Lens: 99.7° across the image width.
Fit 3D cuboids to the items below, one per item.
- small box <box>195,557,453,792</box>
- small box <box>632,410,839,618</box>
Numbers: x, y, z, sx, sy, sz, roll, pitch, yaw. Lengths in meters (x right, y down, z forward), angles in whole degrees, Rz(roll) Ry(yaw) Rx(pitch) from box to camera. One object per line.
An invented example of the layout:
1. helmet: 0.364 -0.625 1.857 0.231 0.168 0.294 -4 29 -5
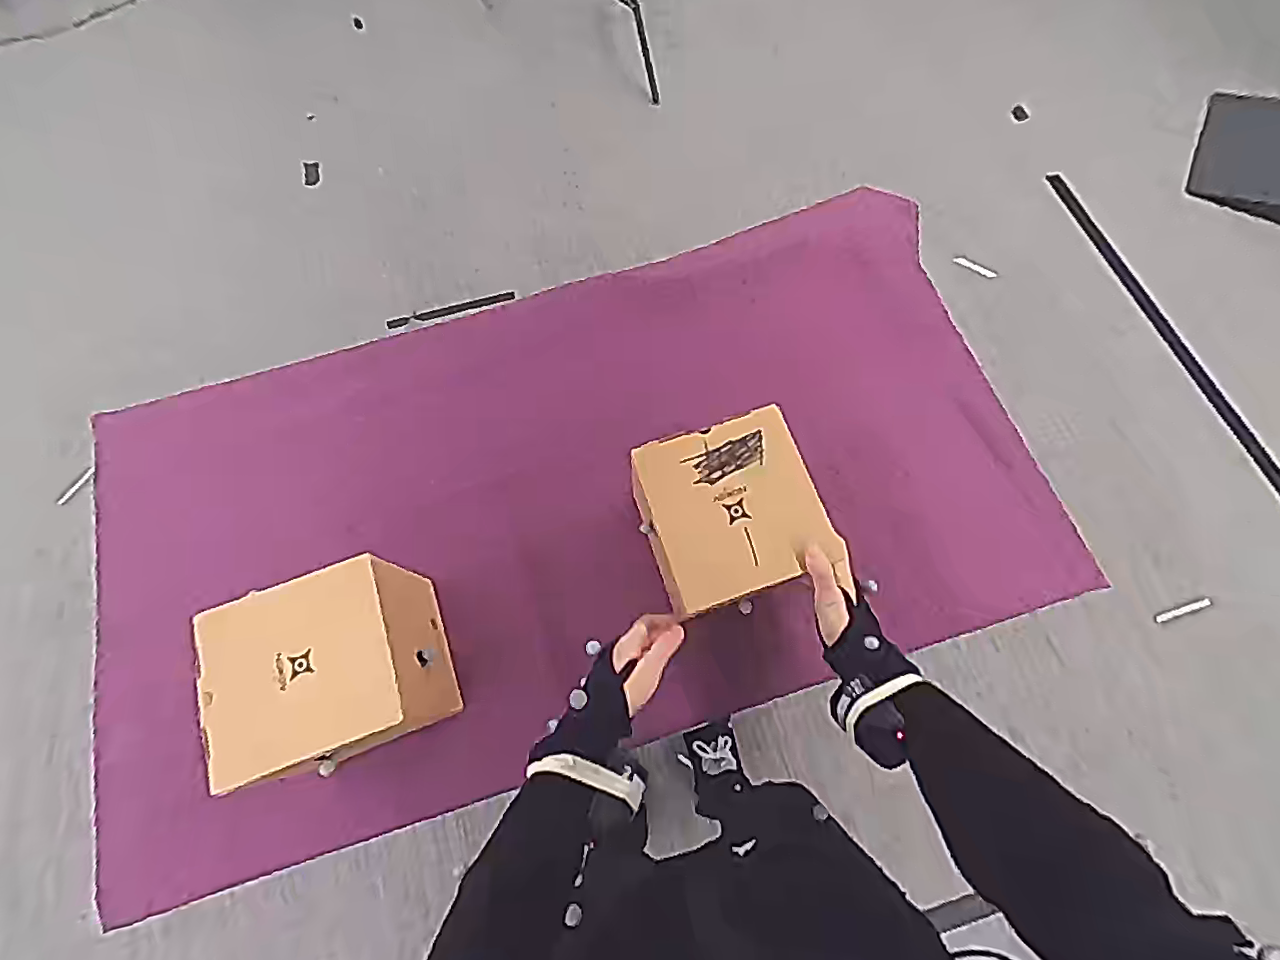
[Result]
1. small box: -0.318 0.199 0.581 0.179 0.176 0.168 -20 72 -5
2. small box: 0.092 0.049 0.619 0.168 0.176 0.179 -18 74 -4
